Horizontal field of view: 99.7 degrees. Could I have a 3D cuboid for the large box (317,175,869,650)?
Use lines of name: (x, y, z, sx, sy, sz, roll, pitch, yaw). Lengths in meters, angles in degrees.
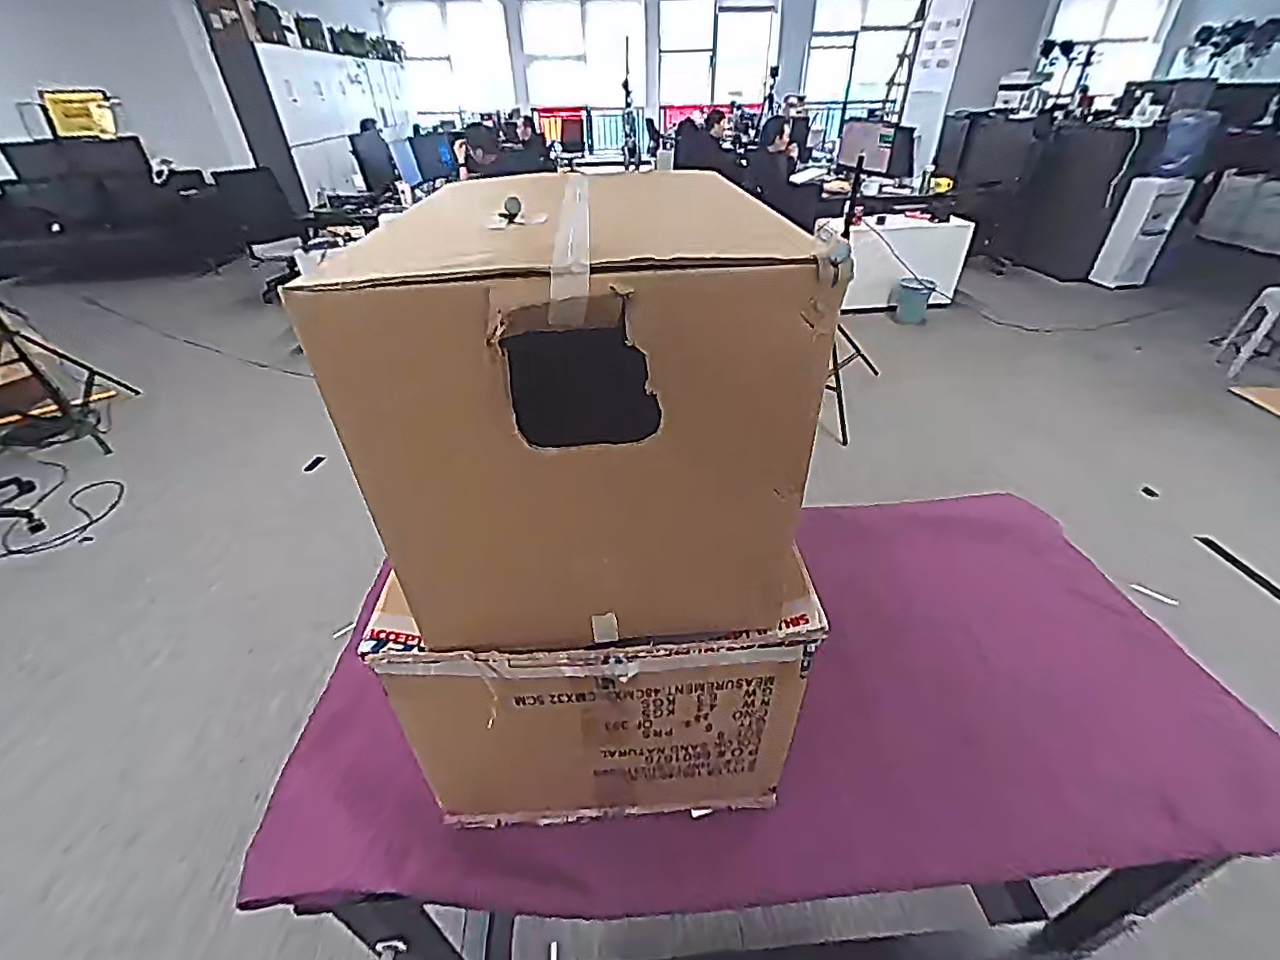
large box: (-0.037, -0.100, 0.539, 0.320, 0.320, 0.408, -5, 36, -2)
